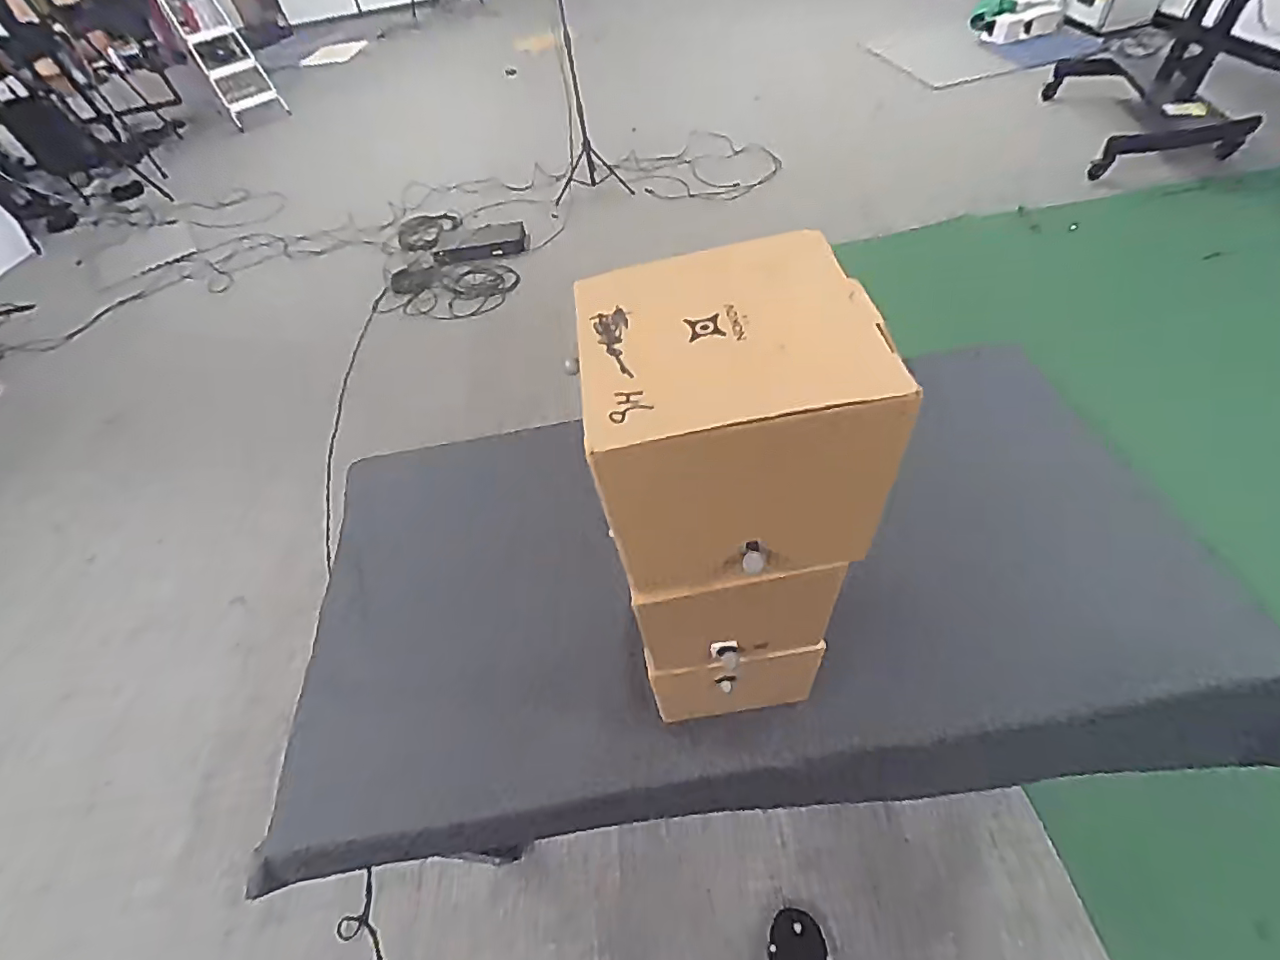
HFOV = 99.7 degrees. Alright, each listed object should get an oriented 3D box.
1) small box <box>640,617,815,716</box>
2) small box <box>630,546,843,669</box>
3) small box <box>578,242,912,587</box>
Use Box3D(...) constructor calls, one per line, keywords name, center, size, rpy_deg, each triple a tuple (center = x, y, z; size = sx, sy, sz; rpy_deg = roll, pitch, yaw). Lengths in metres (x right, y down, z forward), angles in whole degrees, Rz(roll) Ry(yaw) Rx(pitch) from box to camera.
Box3D(name="small box", center=(0.094, 0.174, 0.658), size=(0.179, 0.176, 0.168), rpy_deg=(-9, 52, 1))
Box3D(name="small box", center=(0.073, 0.059, 0.523), size=(0.168, 0.176, 0.179), rpy_deg=(-12, 53, 1))
Box3D(name="small box", center=(0.059, -0.040, 0.393), size=(0.179, 0.176, 0.168), rpy_deg=(-10, 51, 2))
